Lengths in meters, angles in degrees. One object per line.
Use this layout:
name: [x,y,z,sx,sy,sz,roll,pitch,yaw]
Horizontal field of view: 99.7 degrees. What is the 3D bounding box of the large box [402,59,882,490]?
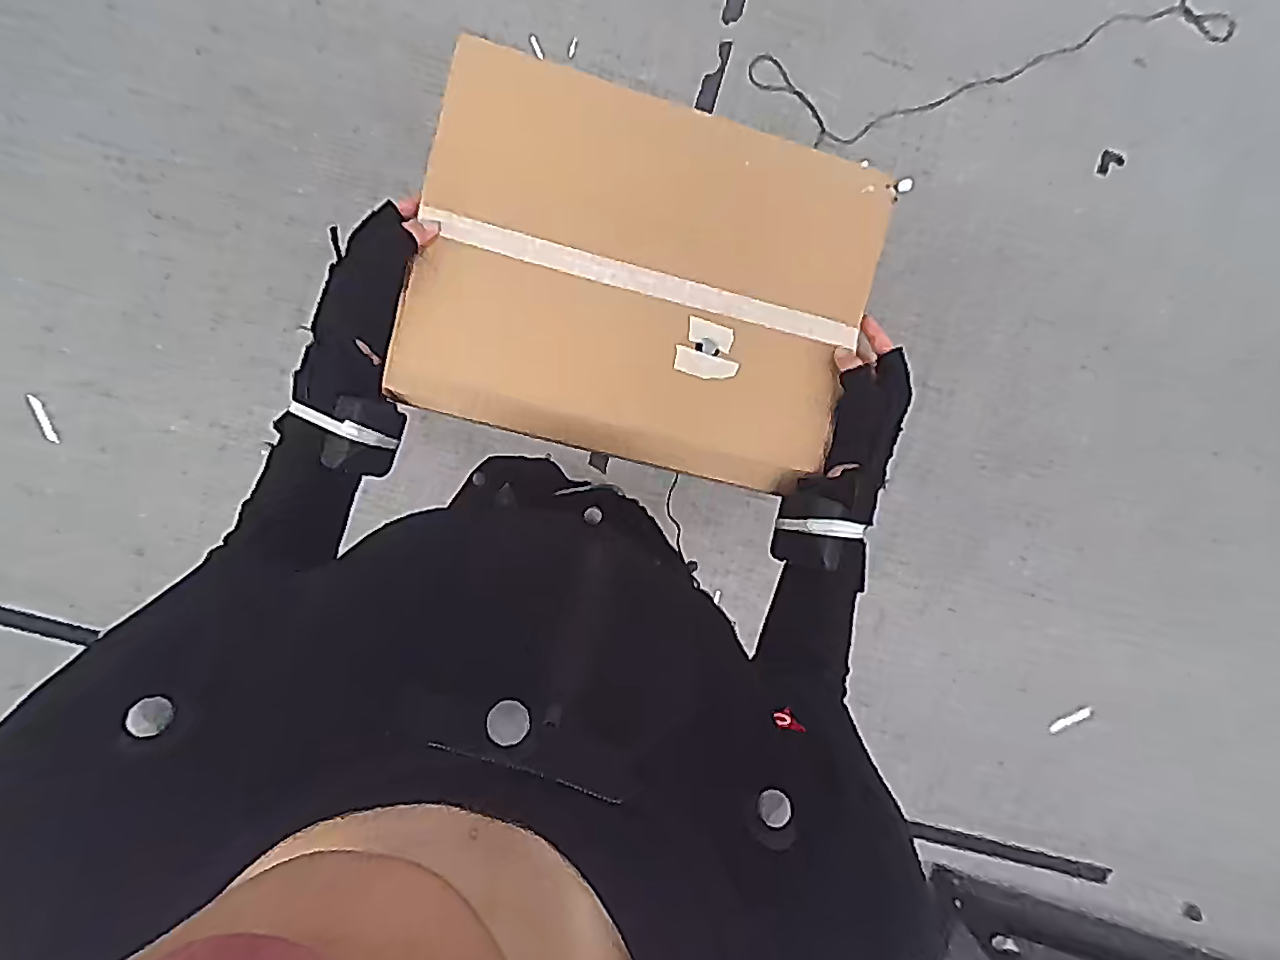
large box: [-0.009,-0.189,0.647,0.408,0.320,0.320,13,94,-8]
